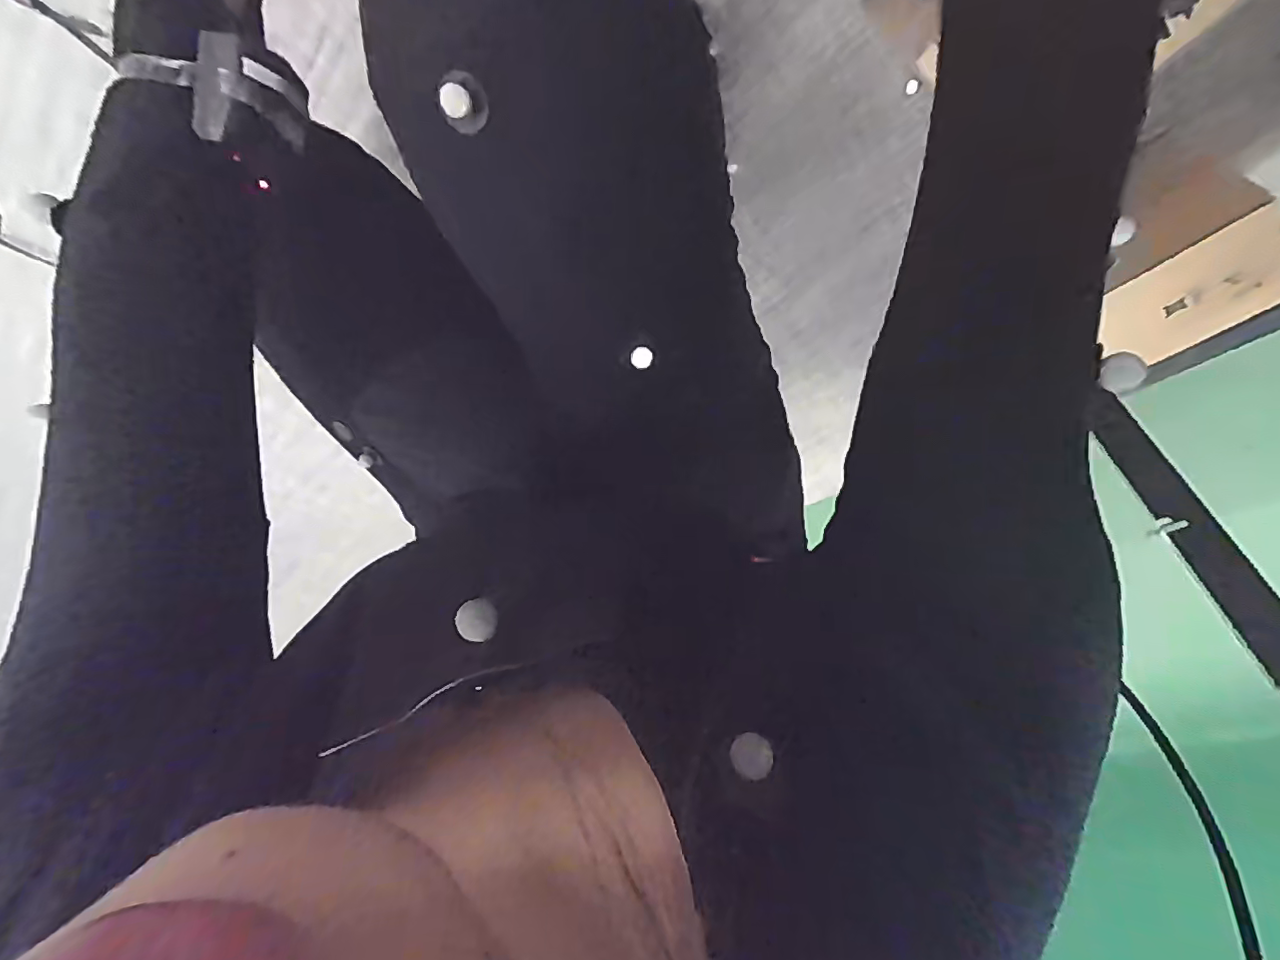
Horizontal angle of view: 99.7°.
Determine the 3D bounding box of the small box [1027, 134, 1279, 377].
[{"bbox_3d":[0.613,-0.268,0.661,0.168,0.176,0.179,28,134,-32],"label":"small box"}]
